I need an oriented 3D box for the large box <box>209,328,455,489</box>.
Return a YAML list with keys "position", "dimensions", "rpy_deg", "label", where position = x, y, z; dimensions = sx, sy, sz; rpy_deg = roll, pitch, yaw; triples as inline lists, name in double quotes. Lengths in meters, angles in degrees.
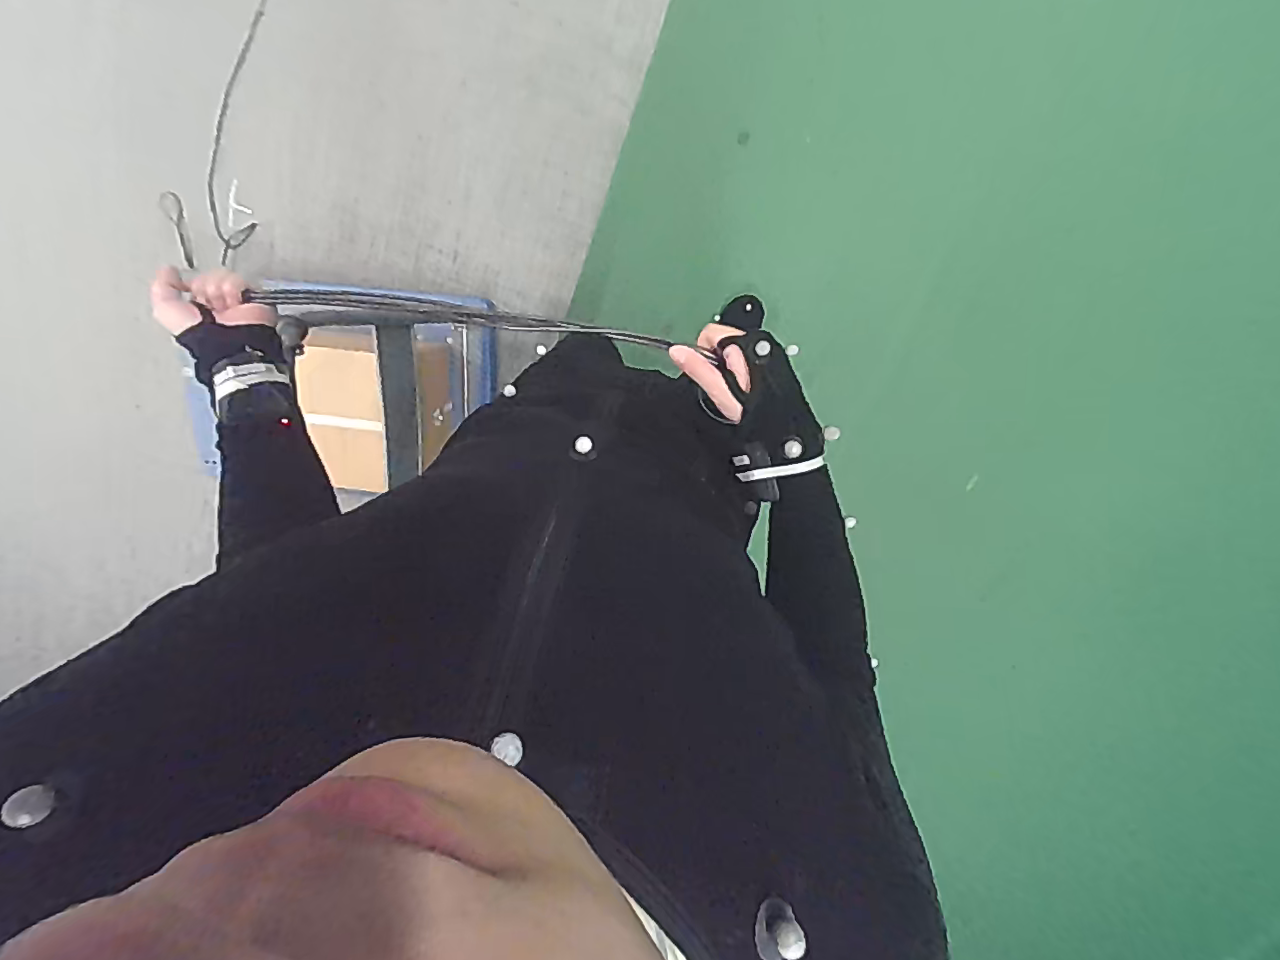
- position: [-0.709, -0.191, 1.311]
  dimensions: [0.408, 0.320, 0.320]
  rpy_deg: [7, 108, 5]
  label: "large box"
